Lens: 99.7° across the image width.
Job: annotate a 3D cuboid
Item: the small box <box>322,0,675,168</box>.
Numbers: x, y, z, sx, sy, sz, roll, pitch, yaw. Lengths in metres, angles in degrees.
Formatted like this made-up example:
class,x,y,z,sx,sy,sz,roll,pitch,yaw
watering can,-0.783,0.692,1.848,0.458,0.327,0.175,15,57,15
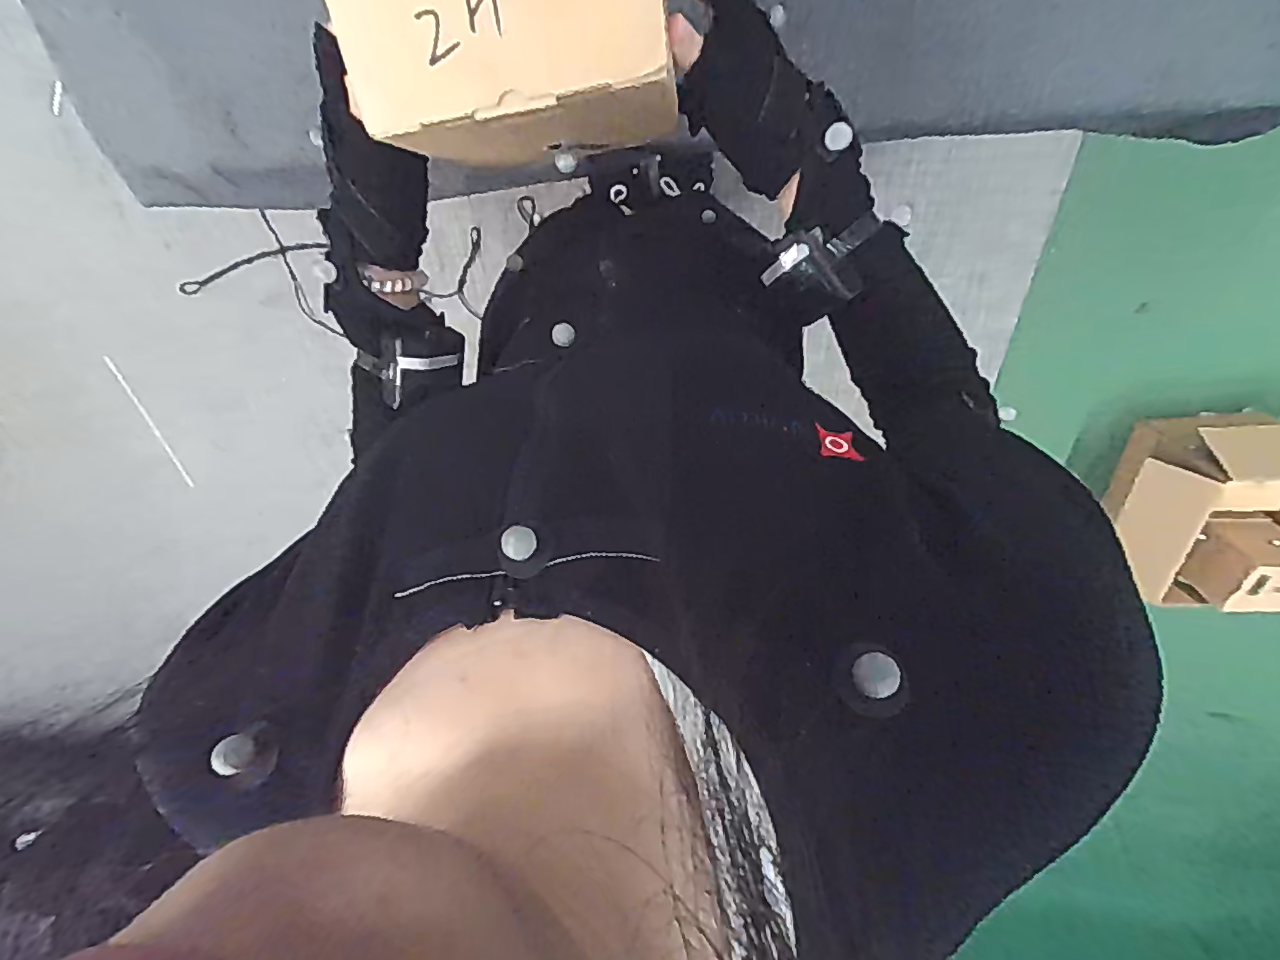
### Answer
class,x,y,z,sx,sy,sz,roll,pitch,yaw
small box,-0.072,-0.303,0.316,0.168,0.176,0.179,-6,114,9
